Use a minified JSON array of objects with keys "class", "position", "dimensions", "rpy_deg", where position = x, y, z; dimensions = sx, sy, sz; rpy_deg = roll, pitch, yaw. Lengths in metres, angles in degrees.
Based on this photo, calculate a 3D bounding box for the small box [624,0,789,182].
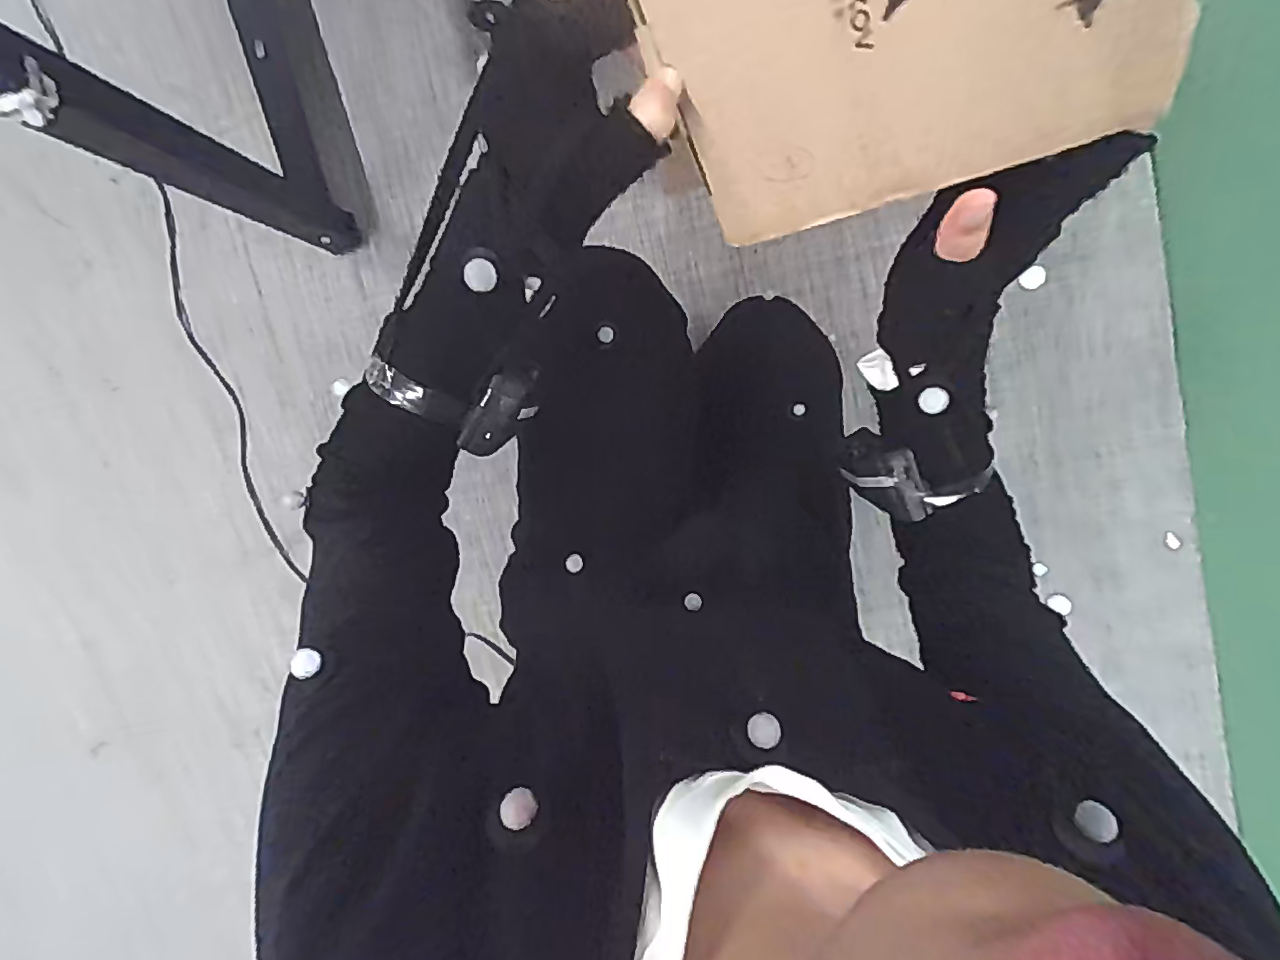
[{"class":"small box","position":[0.088,-0.525,0.716],"dimensions":[0.168,0.176,0.179],"rpy_deg":[-15,94,8]}]
